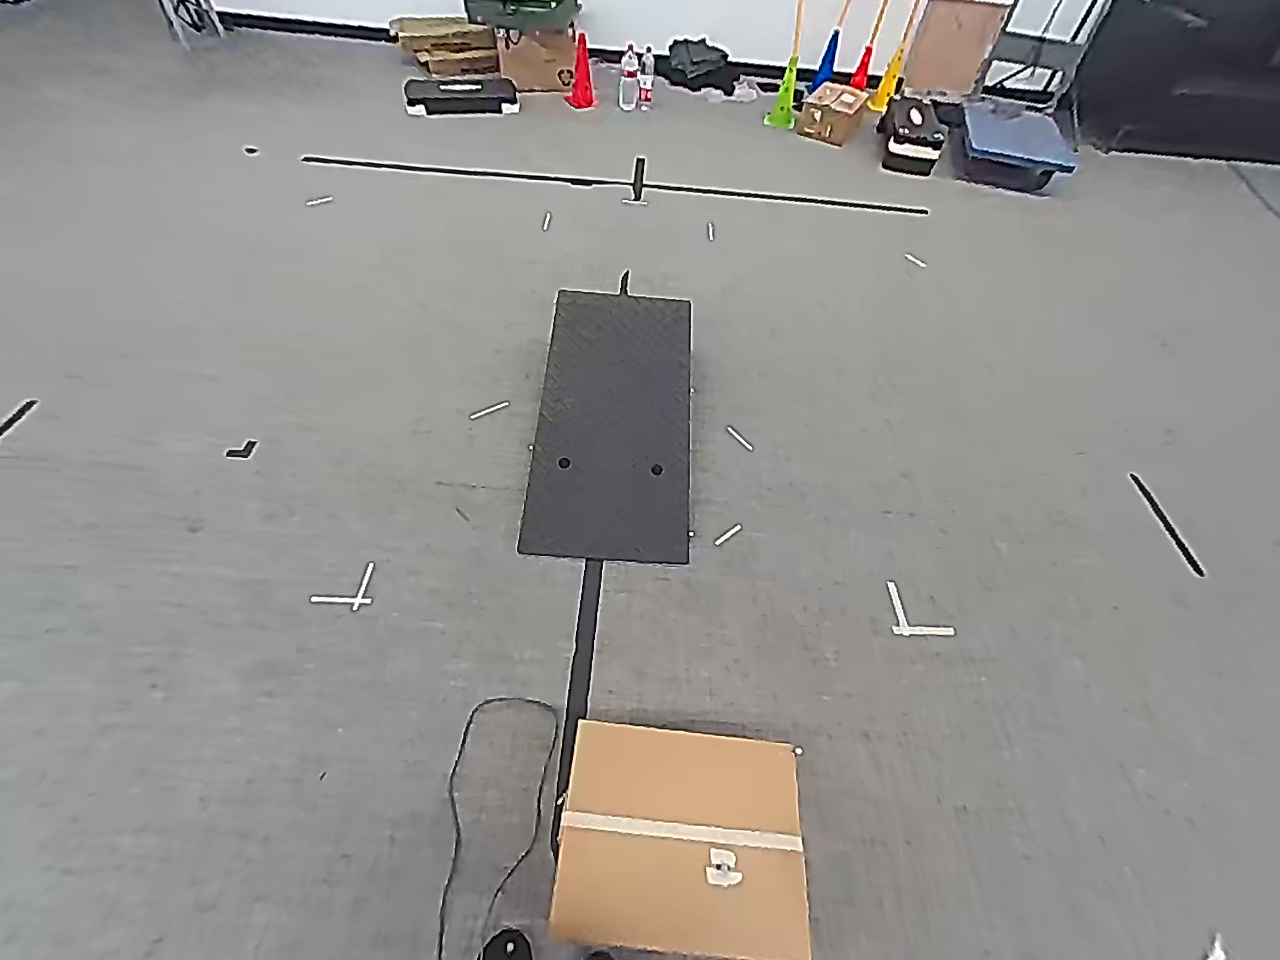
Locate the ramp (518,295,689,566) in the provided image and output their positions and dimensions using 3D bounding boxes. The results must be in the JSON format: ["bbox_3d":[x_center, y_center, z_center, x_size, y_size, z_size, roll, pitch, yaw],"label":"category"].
[{"bbox_3d":[-0.084,-0.212,1.769,0.509,0.206,0.991,4,53,-4],"label":"ramp"}]

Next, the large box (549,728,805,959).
[{"bbox_3d":[0.052,0.690,1.027,0.408,0.320,0.320,7,53,-1],"label":"large box"}]
